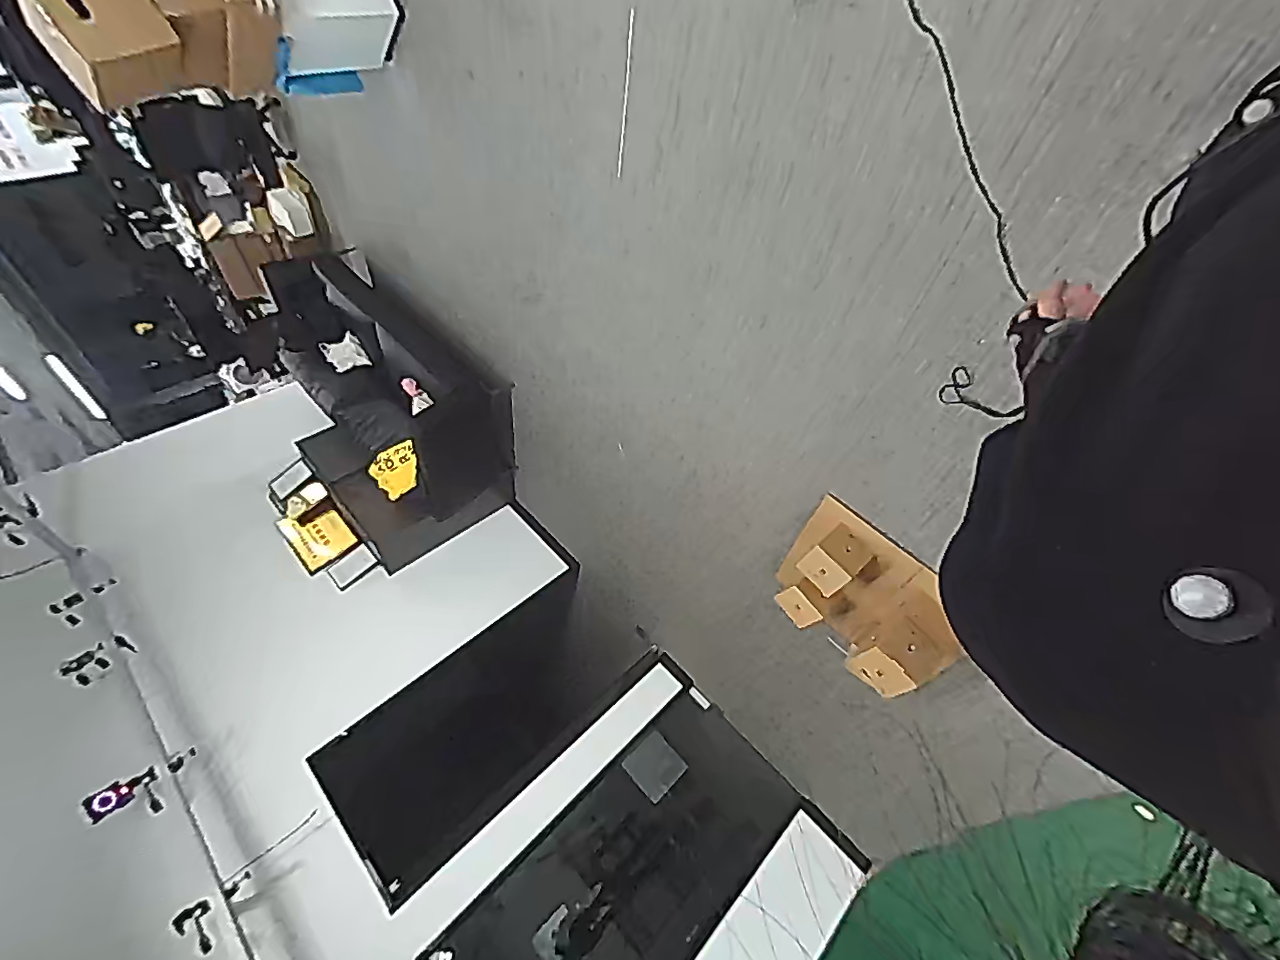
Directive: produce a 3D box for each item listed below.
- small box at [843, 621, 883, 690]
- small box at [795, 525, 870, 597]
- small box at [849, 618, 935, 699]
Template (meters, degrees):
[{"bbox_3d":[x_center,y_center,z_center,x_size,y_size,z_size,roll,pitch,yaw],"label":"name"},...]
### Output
[{"bbox_3d":[0.916,0.676,2.074,0.179,0.176,0.168,33,141,35],"label":"small box"},{"bbox_3d":[0.716,0.294,1.998,0.168,0.176,0.179,47,148,18],"label":"small box"},{"bbox_3d":[0.837,0.586,1.787,0.168,0.176,0.179,48,147,17],"label":"small box"}]
